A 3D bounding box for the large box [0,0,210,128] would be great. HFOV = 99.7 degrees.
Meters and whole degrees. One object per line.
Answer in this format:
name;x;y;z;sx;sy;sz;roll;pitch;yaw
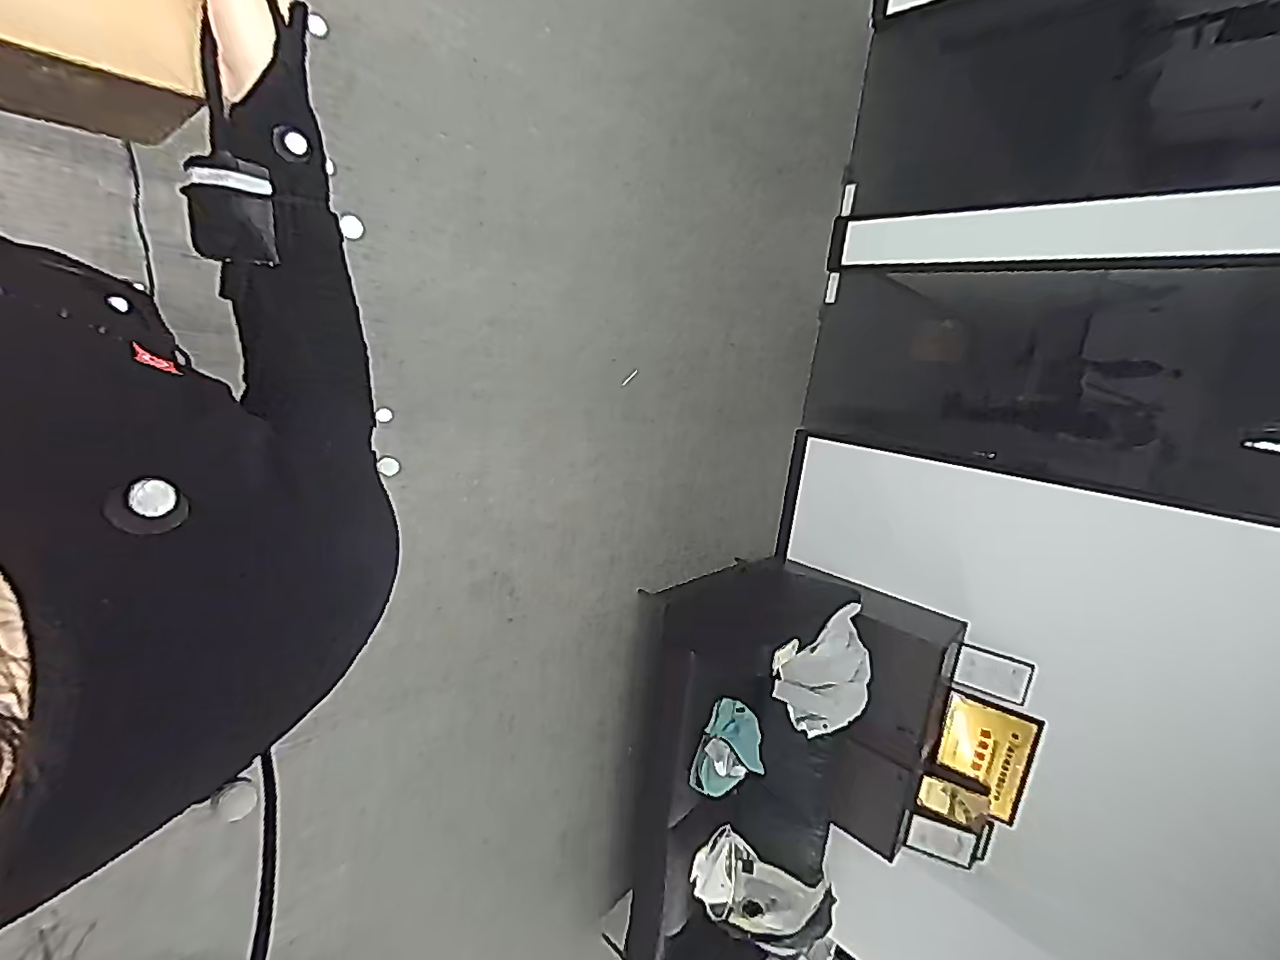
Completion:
large box;-0.518;-0.428;0.274;0.408;0.320;0.320;-11;117;-46
